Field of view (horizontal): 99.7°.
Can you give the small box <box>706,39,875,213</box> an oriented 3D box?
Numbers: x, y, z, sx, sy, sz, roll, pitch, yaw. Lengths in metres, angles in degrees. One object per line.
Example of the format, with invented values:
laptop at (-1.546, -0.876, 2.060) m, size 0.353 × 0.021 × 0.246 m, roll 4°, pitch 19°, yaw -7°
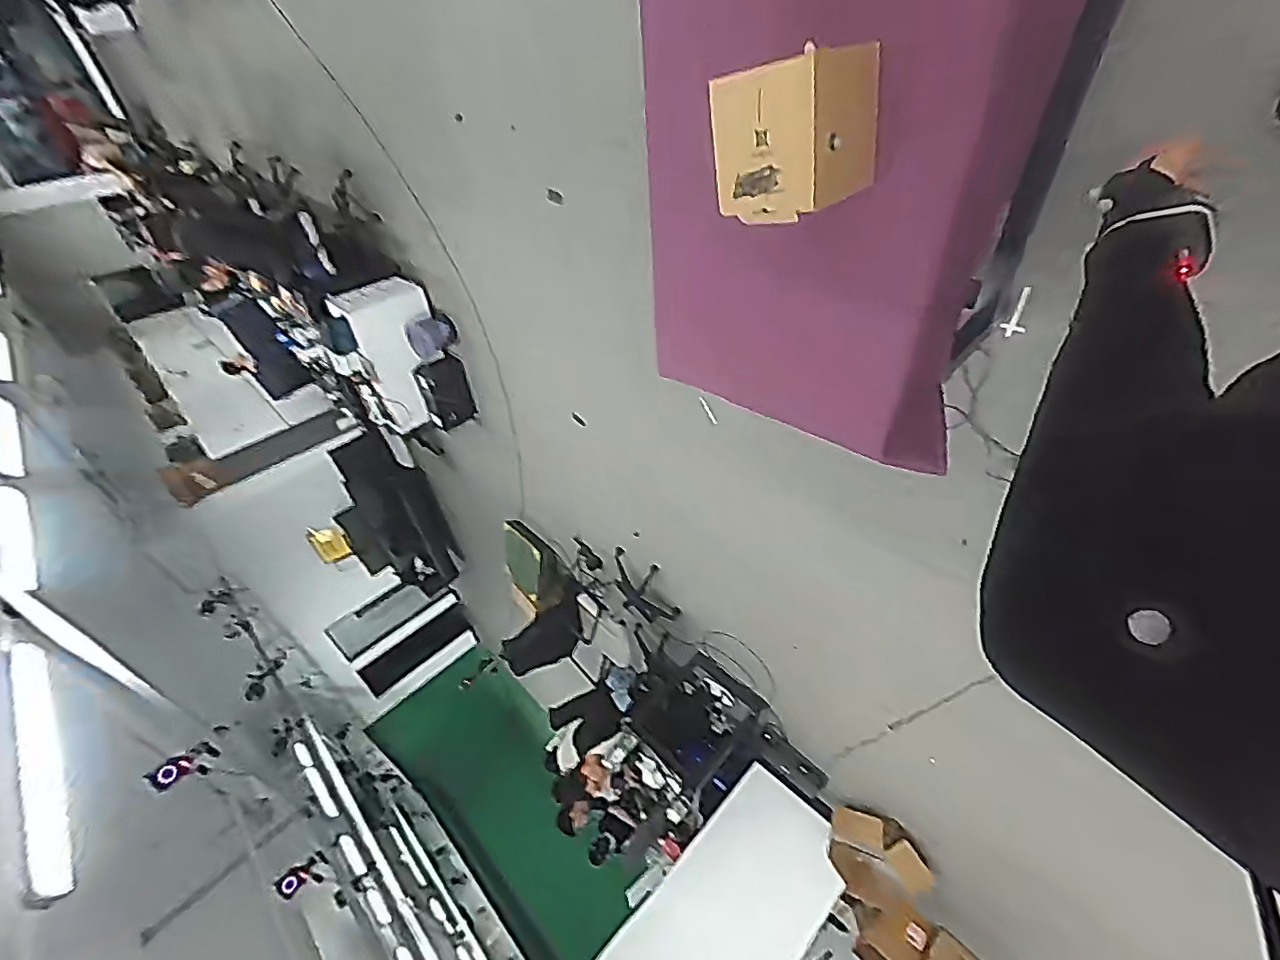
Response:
small box at (0.220, -0.502, 0.779) m, size 0.168 × 0.176 × 0.179 m, roll 23°, pitch 137°, yaw 42°
